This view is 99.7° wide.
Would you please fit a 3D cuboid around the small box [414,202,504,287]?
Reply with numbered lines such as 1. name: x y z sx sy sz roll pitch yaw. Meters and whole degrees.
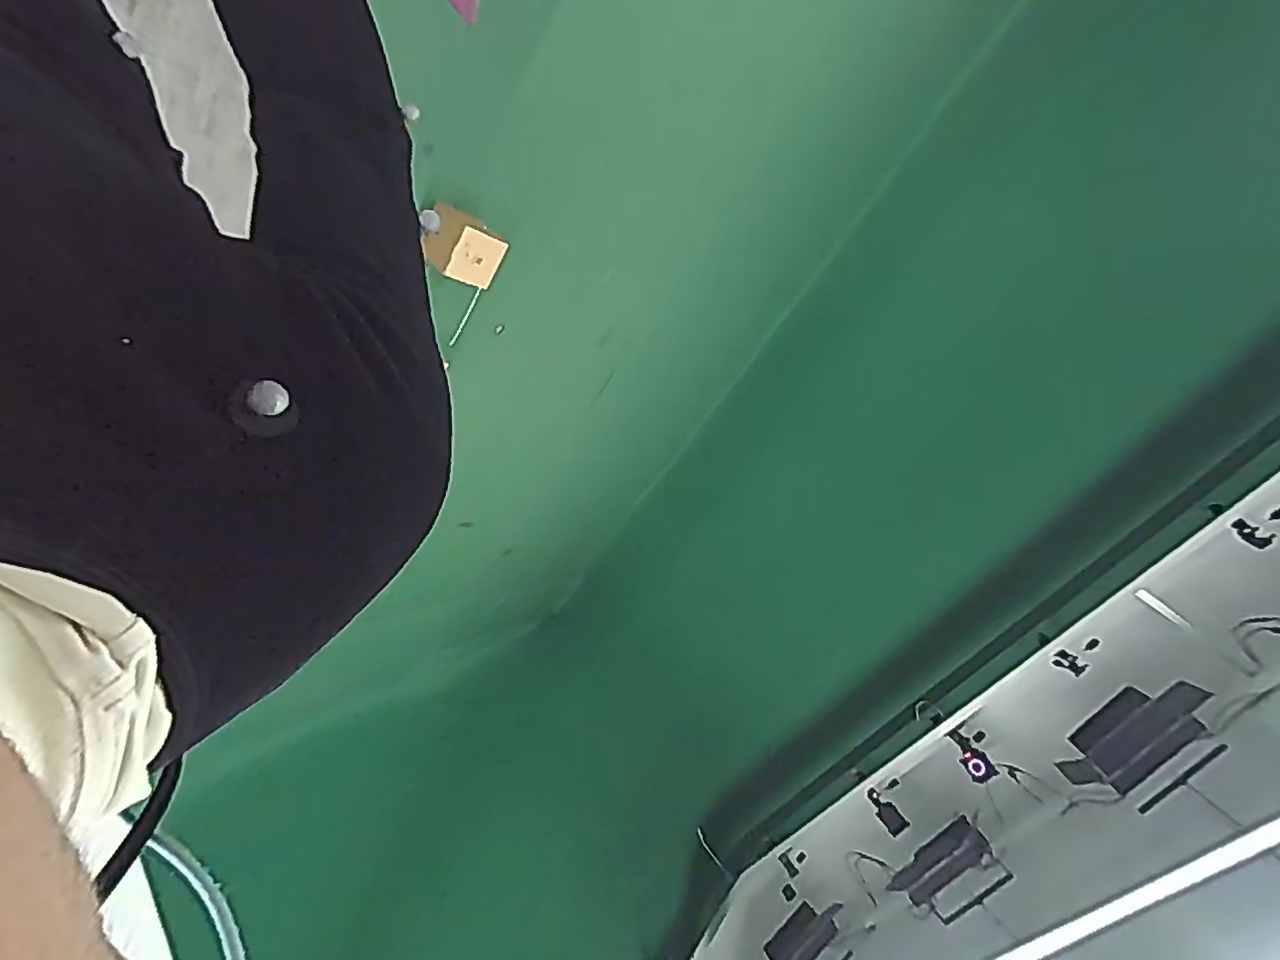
1. small box: -0.575 -0.748 1.717 0.168 0.176 0.179 -54 156 21
